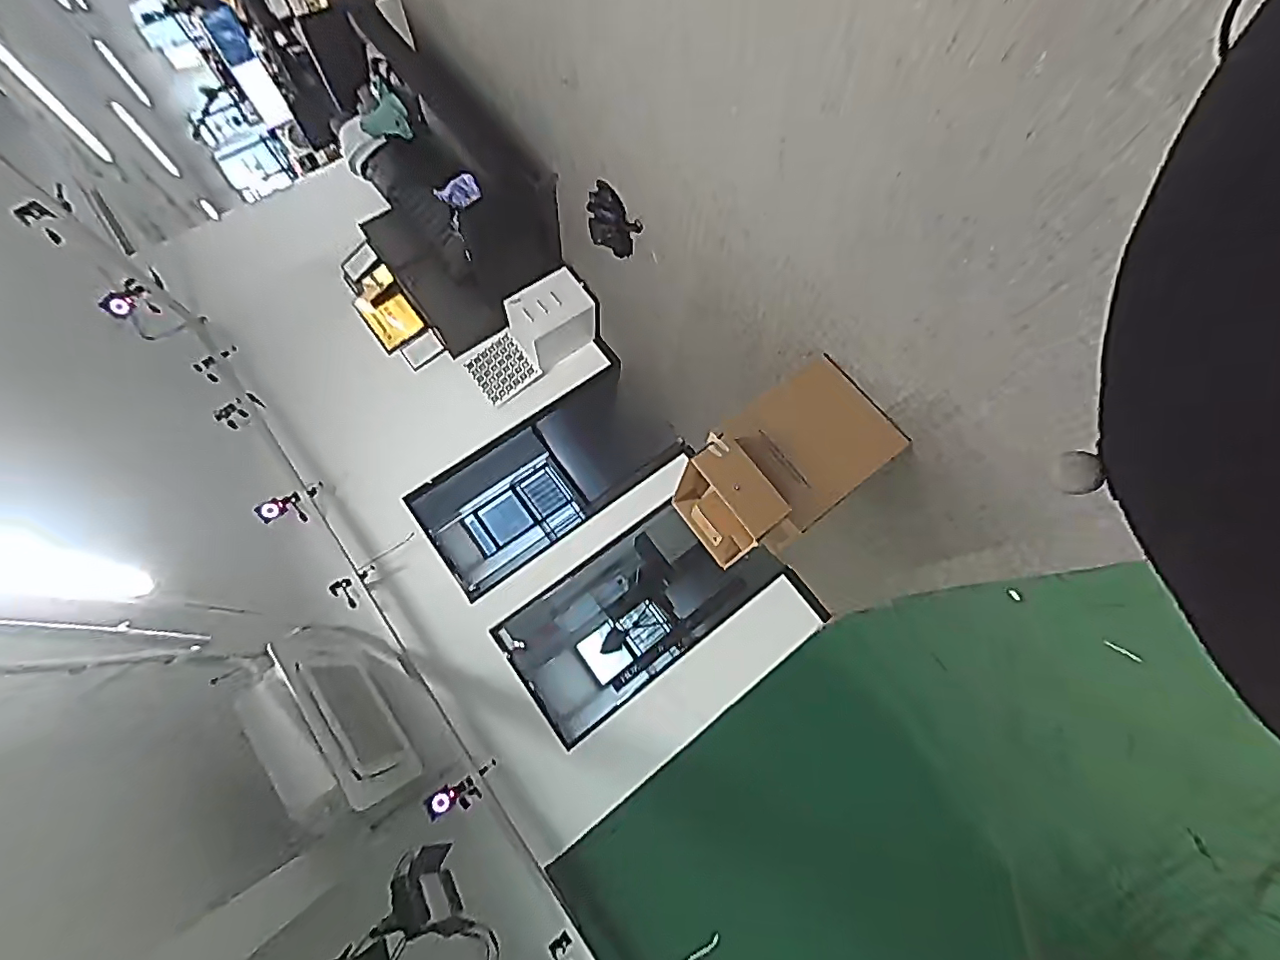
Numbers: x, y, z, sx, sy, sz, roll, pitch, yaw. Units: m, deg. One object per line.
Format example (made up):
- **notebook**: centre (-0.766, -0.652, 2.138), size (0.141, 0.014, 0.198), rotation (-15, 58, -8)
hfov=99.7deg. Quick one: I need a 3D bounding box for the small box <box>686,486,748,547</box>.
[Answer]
- **small box**: centre (0.315, 0.144, 2.222), size (0.179, 0.176, 0.168), rotation (53, 168, 14)
